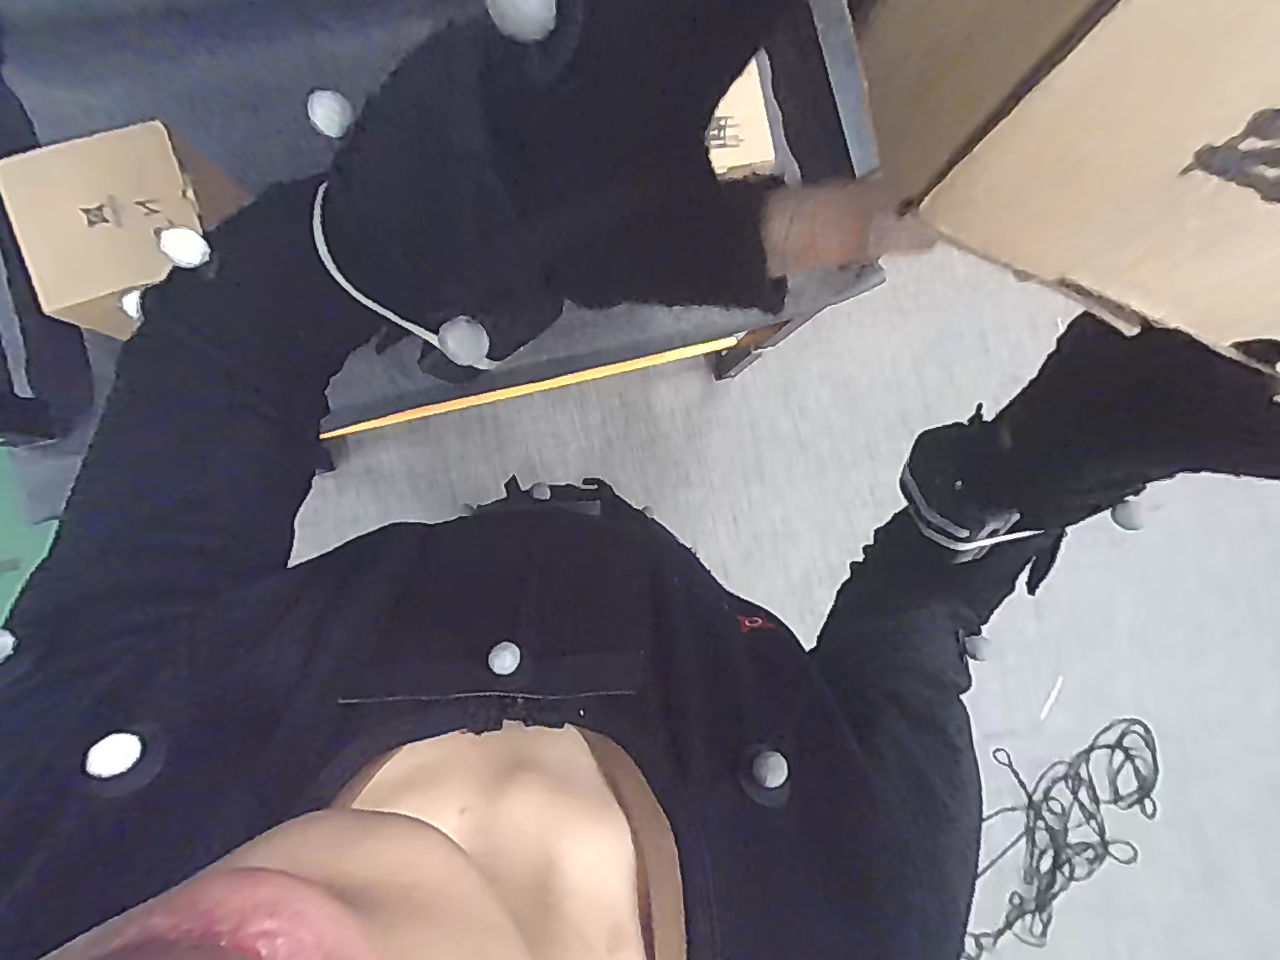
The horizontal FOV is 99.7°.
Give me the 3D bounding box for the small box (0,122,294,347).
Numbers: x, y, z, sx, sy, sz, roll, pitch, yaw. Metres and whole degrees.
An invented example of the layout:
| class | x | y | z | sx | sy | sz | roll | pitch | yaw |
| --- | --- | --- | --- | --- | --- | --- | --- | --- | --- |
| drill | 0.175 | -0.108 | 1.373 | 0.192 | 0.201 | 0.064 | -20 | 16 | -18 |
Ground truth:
| class | x | y | z | sx | sy | sz | roll | pitch | yaw |
| --- | --- | --- | --- | --- | --- | --- | --- | --- | --- |
| small box | -0.564 | -0.275 | 0.646 | 0.179 | 0.176 | 0.168 | -19 | 91 | -6 |
